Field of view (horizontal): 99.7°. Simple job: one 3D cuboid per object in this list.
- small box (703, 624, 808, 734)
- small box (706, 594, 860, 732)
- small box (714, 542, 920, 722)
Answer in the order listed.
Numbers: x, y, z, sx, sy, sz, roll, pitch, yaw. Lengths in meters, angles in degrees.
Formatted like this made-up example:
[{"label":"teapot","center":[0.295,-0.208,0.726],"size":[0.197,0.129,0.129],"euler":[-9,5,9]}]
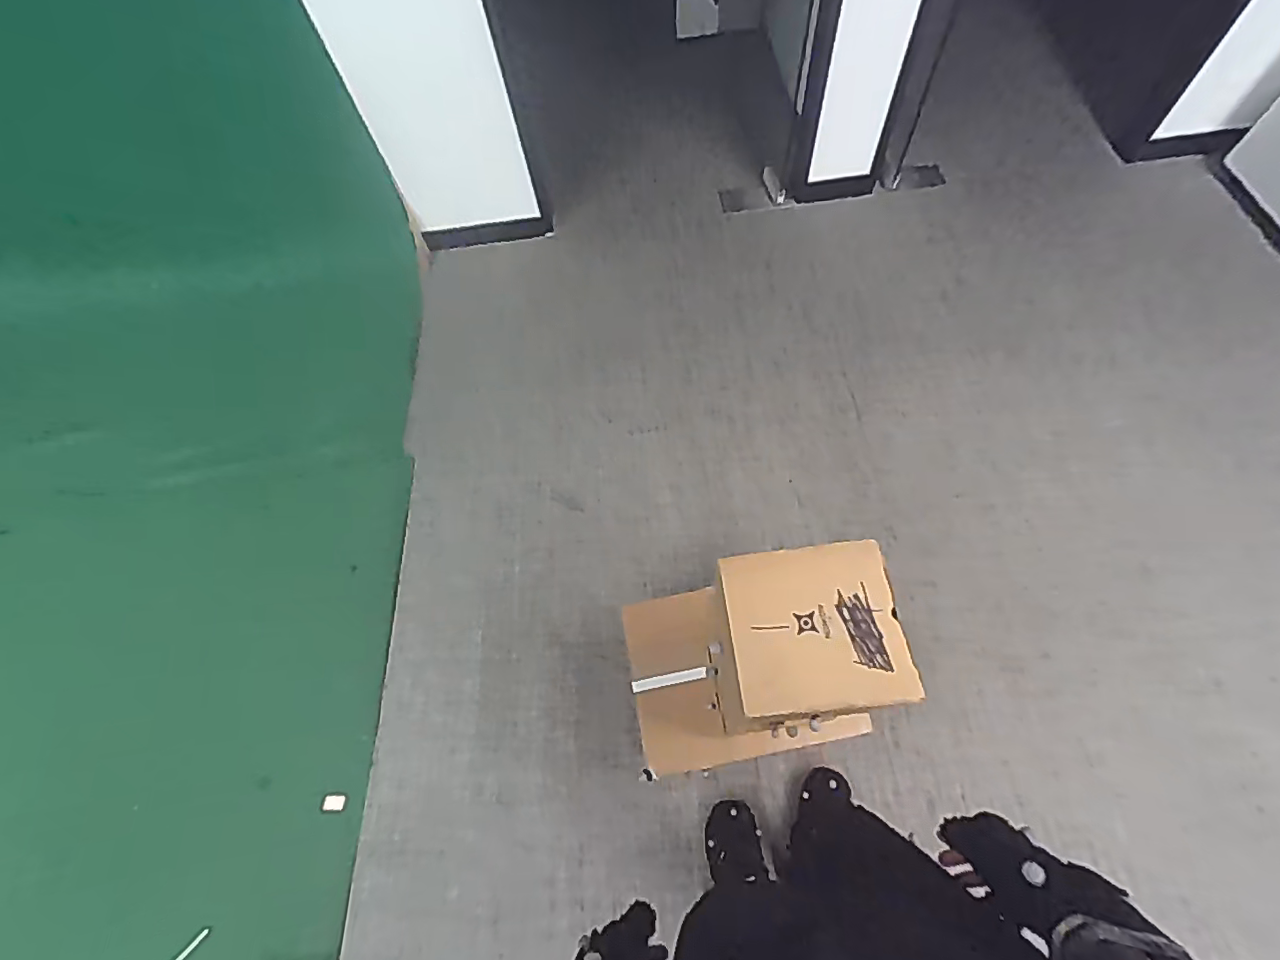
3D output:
[{"label":"small box","center":[0.205,0.331,0.920],"size":[0.179,0.176,0.168],"euler":[-8,64,0]},{"label":"small box","center":[0.192,0.255,0.777],"size":[0.168,0.176,0.179],"euler":[-10,64,1]},{"label":"small box","center":[0.185,0.183,0.627],"size":[0.179,0.176,0.168],"euler":[-7,63,3]}]
